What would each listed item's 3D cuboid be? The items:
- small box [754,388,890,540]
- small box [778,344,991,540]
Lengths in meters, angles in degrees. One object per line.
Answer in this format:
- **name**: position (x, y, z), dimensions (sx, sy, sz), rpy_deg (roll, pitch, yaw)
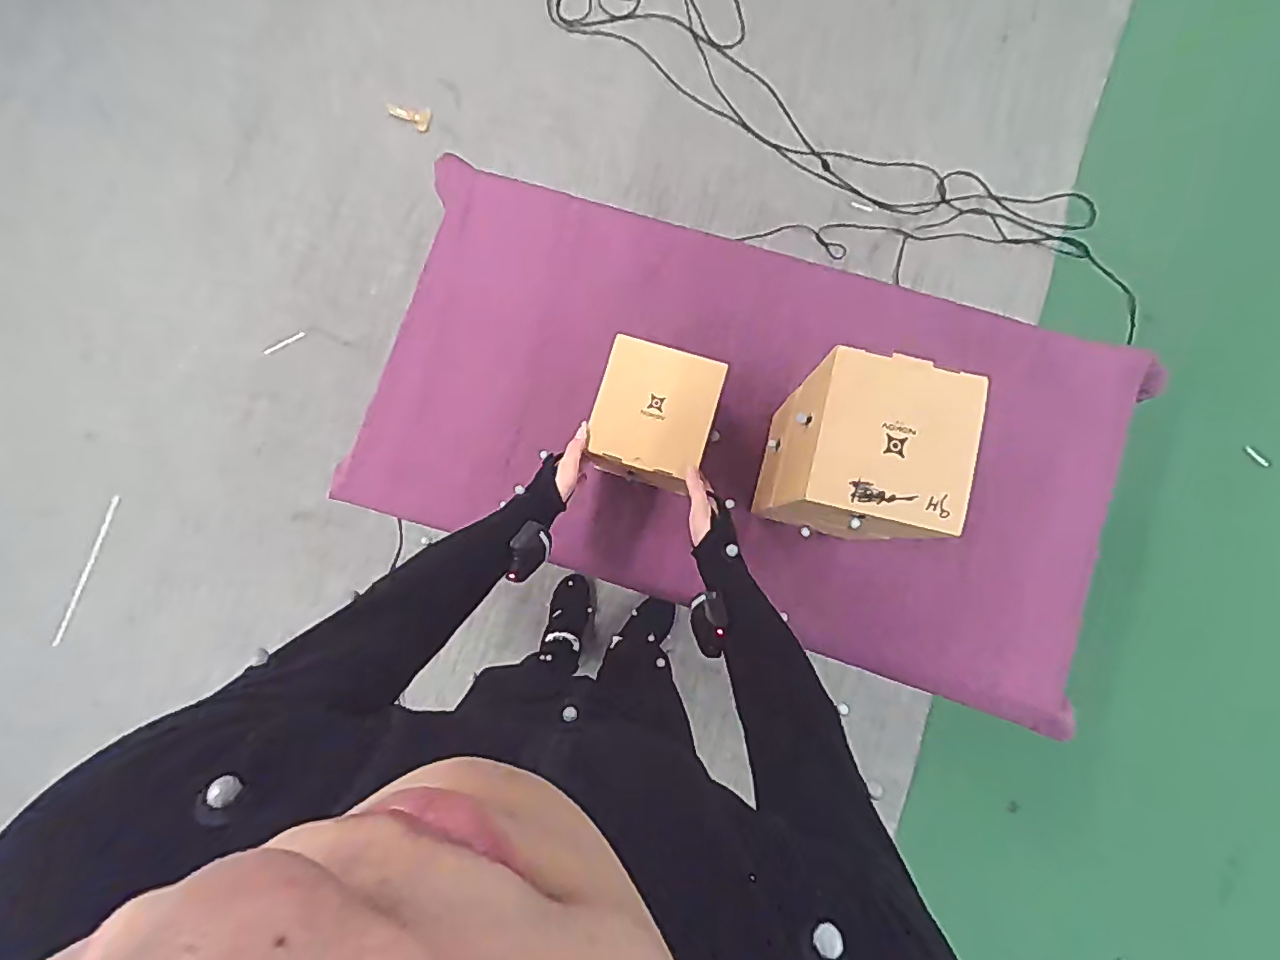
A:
- **small box**: position (0.278, -0.014, 0.804), dimensions (0.168, 0.176, 0.179), rpy_deg (14, 85, 4)
- **small box**: position (0.273, -0.033, 0.641), dimensions (0.168, 0.176, 0.179), rpy_deg (13, 83, 4)
